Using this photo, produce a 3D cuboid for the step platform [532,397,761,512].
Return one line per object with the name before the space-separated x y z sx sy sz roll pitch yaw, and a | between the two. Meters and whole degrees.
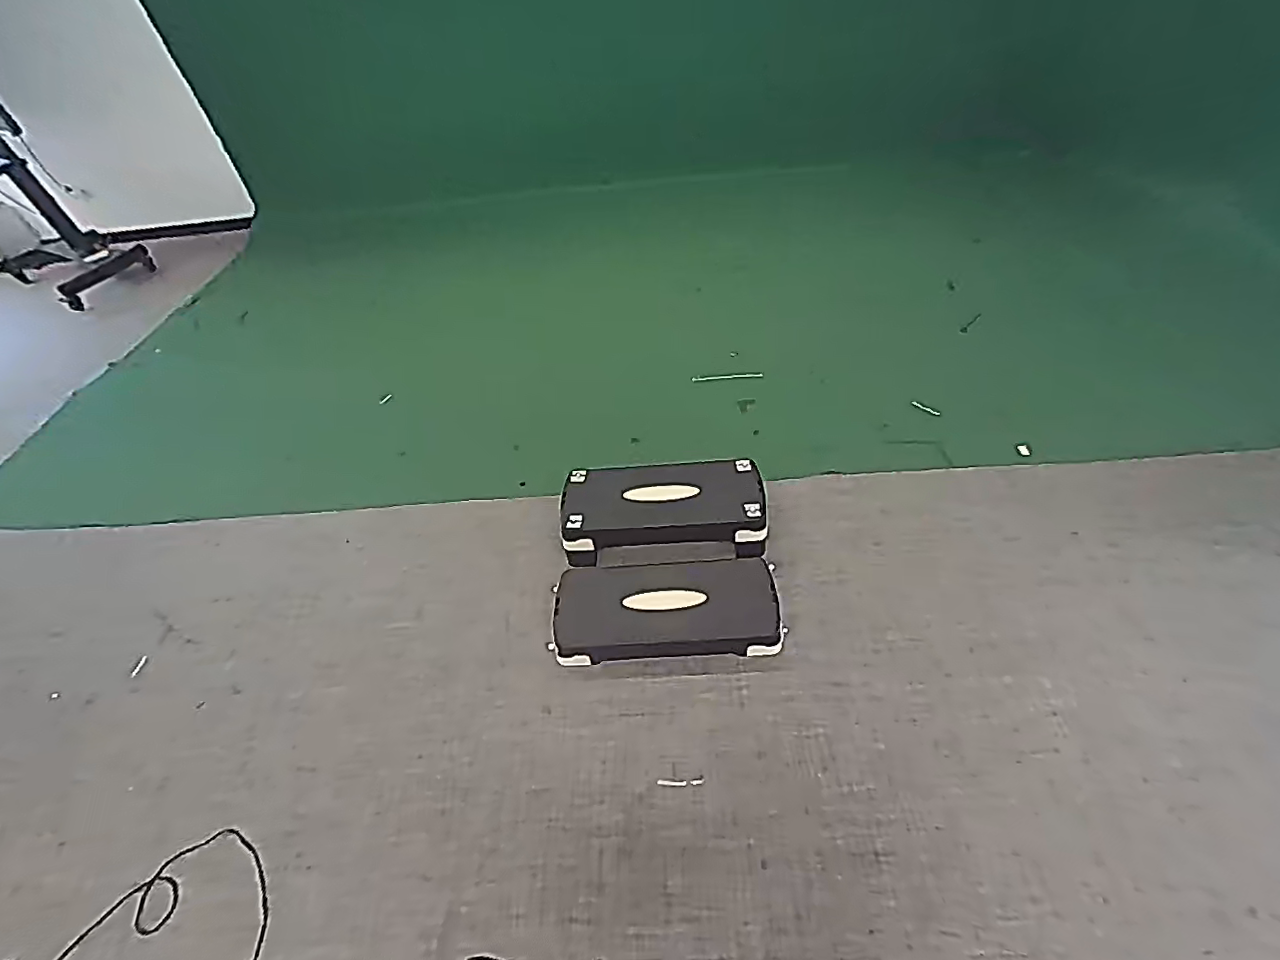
step platform | 0.021 -0.077 1.691 0.684 0.204 0.286 -4 48 4
